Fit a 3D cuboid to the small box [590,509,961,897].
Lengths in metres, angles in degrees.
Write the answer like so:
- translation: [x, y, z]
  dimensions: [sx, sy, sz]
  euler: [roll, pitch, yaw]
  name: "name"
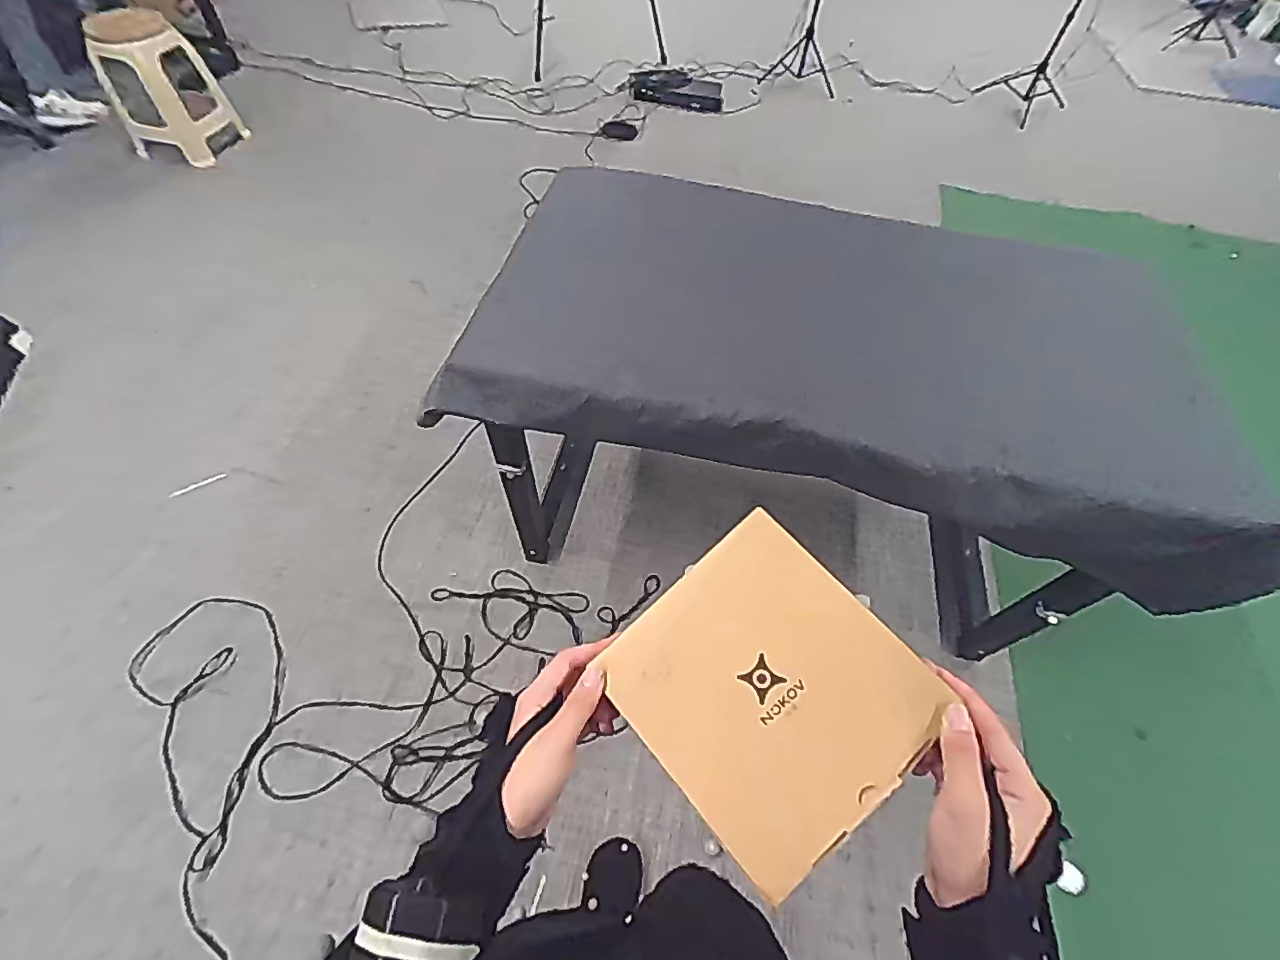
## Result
- translation: [0.089, 0.156, 0.419]
  dimensions: [0.168, 0.176, 0.179]
  euler: [-42, 71, -8]
  name: "small box"
